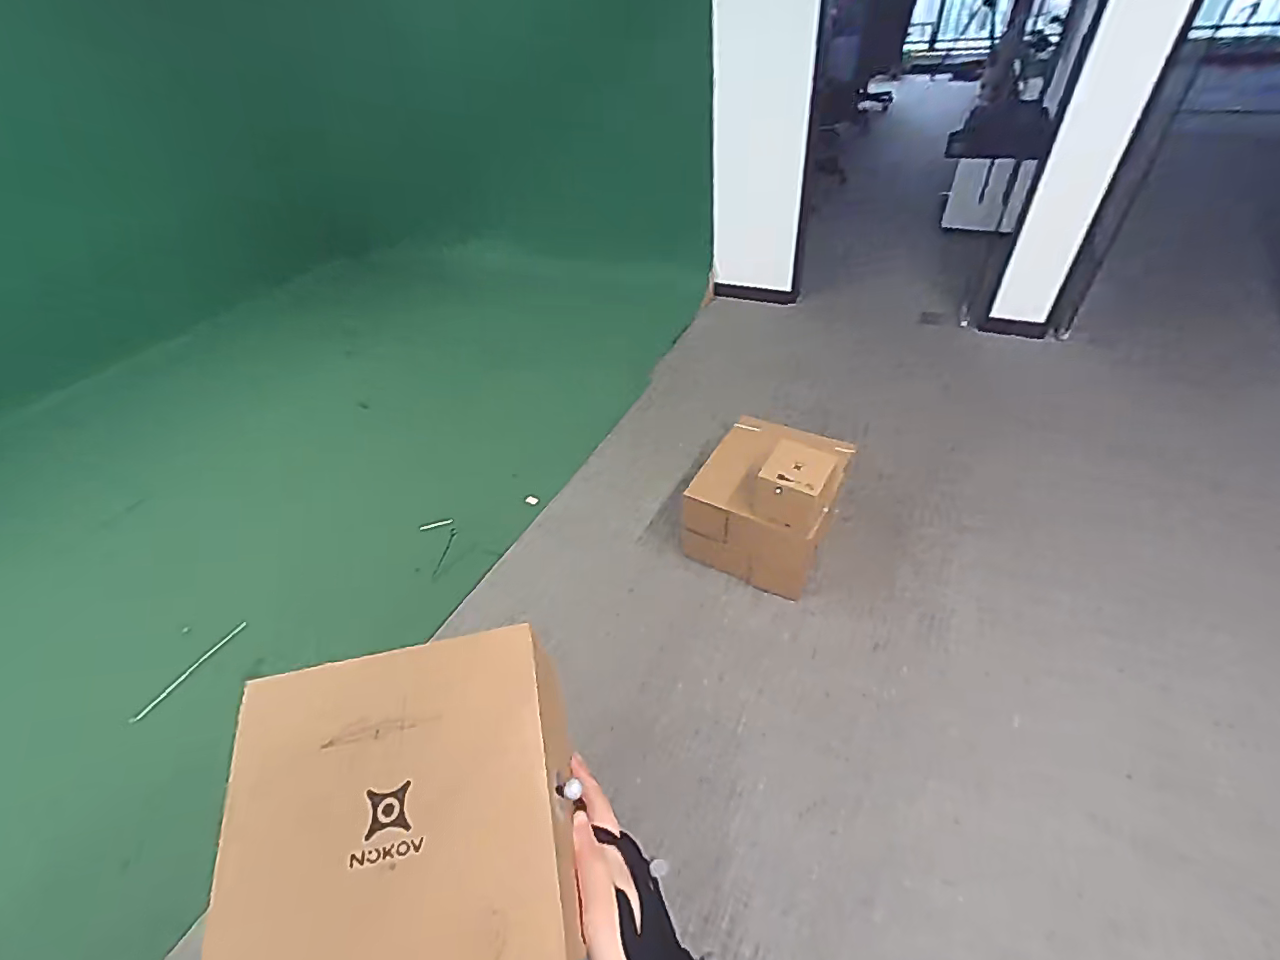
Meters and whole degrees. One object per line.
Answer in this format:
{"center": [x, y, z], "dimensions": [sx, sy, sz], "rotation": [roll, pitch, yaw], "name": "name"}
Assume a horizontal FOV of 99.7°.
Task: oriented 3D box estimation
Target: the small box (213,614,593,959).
{"center": [-0.127, 0.210, 0.354], "dimensions": [0.168, 0.176, 0.179], "rotation": [-9, 58, -6], "name": "small box"}

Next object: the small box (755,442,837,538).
{"center": [0.430, 0.027, 1.511], "dimensions": [0.168, 0.176, 0.179], "rotation": [21, 49, 27], "name": "small box"}
